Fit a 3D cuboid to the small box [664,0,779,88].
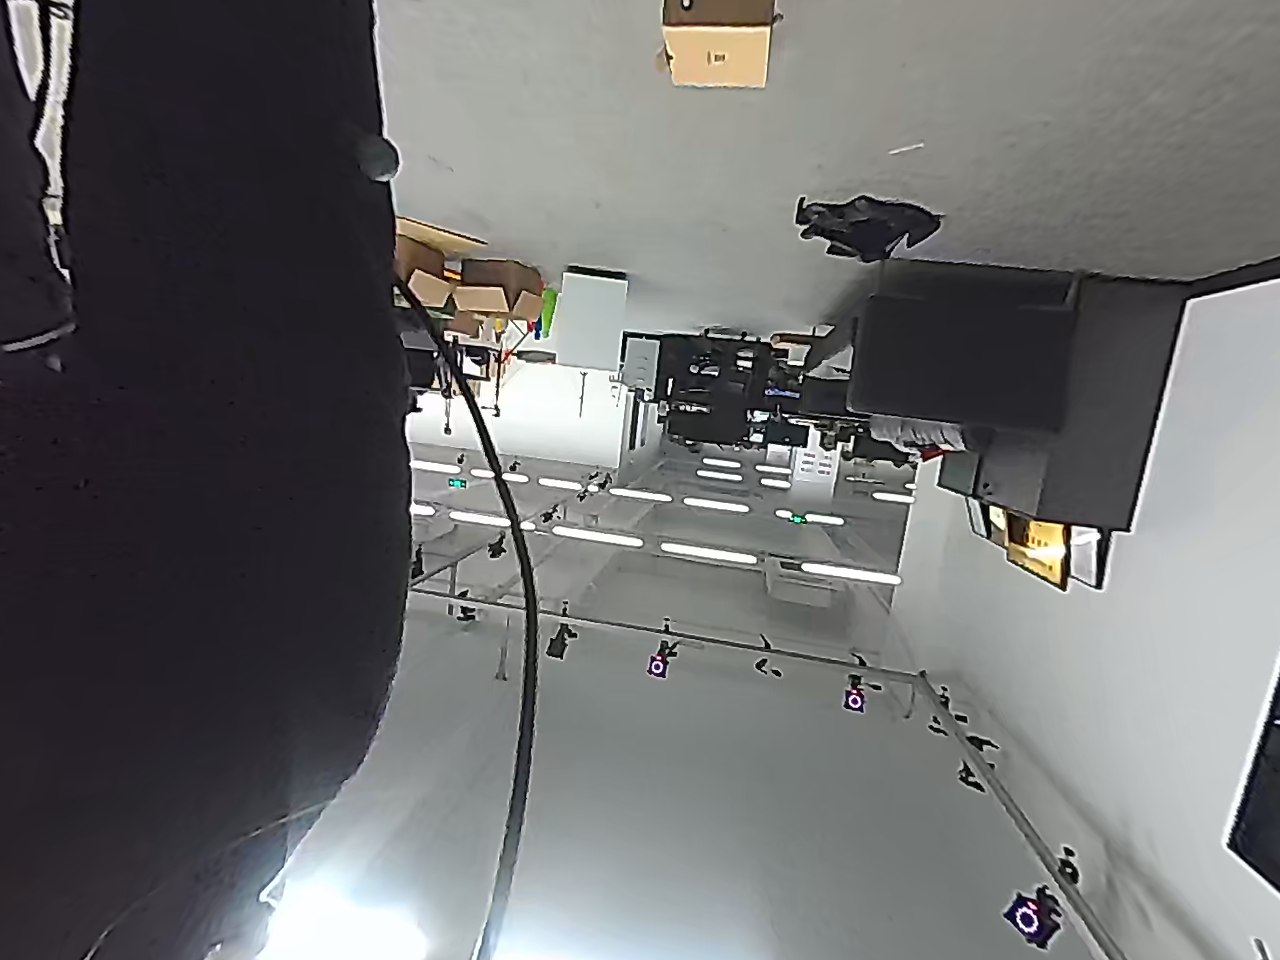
[{"bbox_3d":[0.144,-0.797,0.907,0.179,0.176,0.168,8,-170,9],"label":"small box"}]
